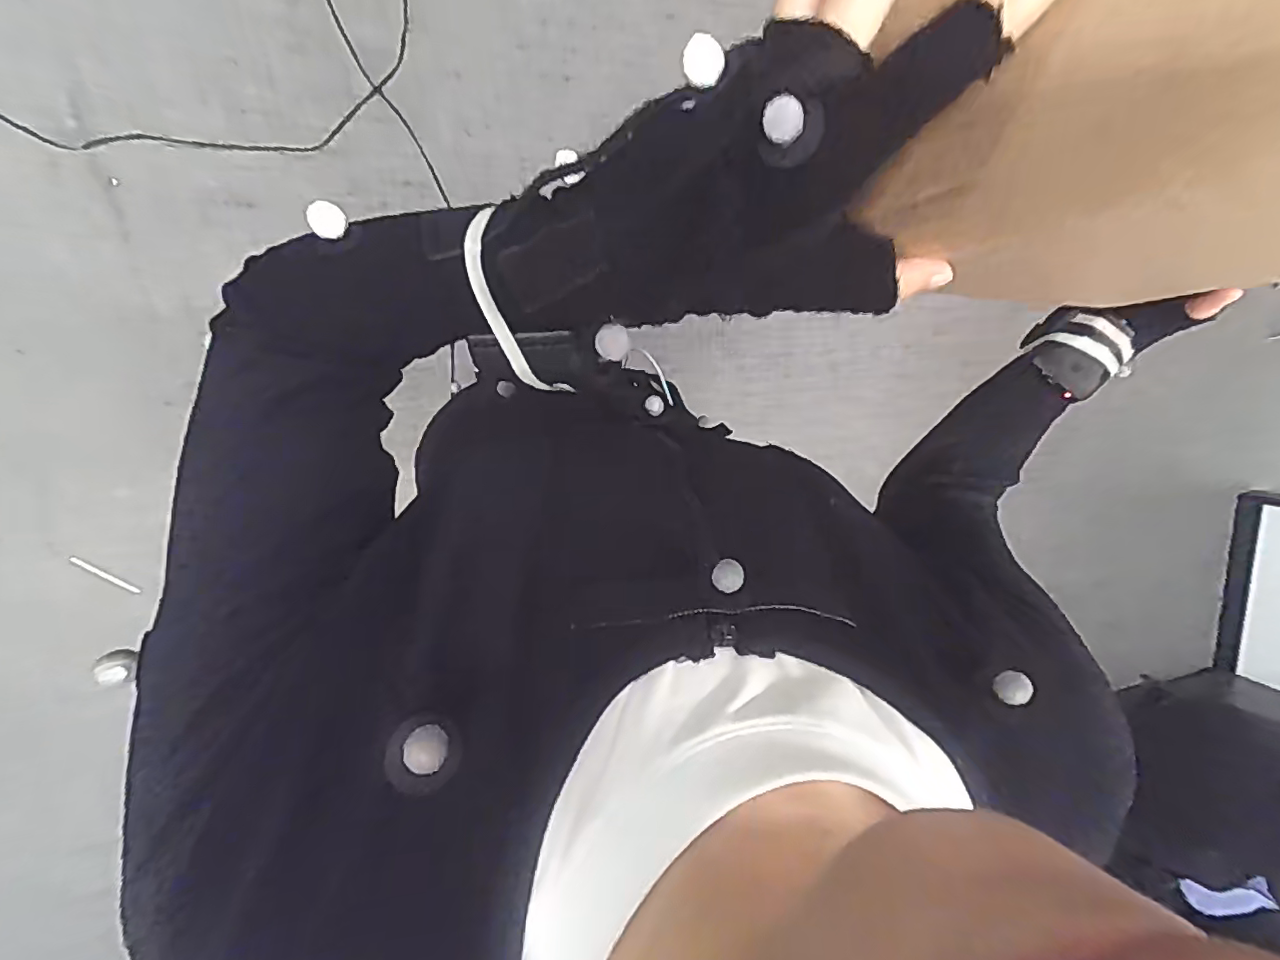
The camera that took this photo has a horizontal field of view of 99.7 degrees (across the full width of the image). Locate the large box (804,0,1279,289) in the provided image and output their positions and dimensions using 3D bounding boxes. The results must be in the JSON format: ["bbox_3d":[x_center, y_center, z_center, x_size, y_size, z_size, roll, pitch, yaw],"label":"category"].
[{"bbox_3d":[0.310,-0.271,0.214,0.408,0.320,0.320,-11,101,-34],"label":"large box"}]
